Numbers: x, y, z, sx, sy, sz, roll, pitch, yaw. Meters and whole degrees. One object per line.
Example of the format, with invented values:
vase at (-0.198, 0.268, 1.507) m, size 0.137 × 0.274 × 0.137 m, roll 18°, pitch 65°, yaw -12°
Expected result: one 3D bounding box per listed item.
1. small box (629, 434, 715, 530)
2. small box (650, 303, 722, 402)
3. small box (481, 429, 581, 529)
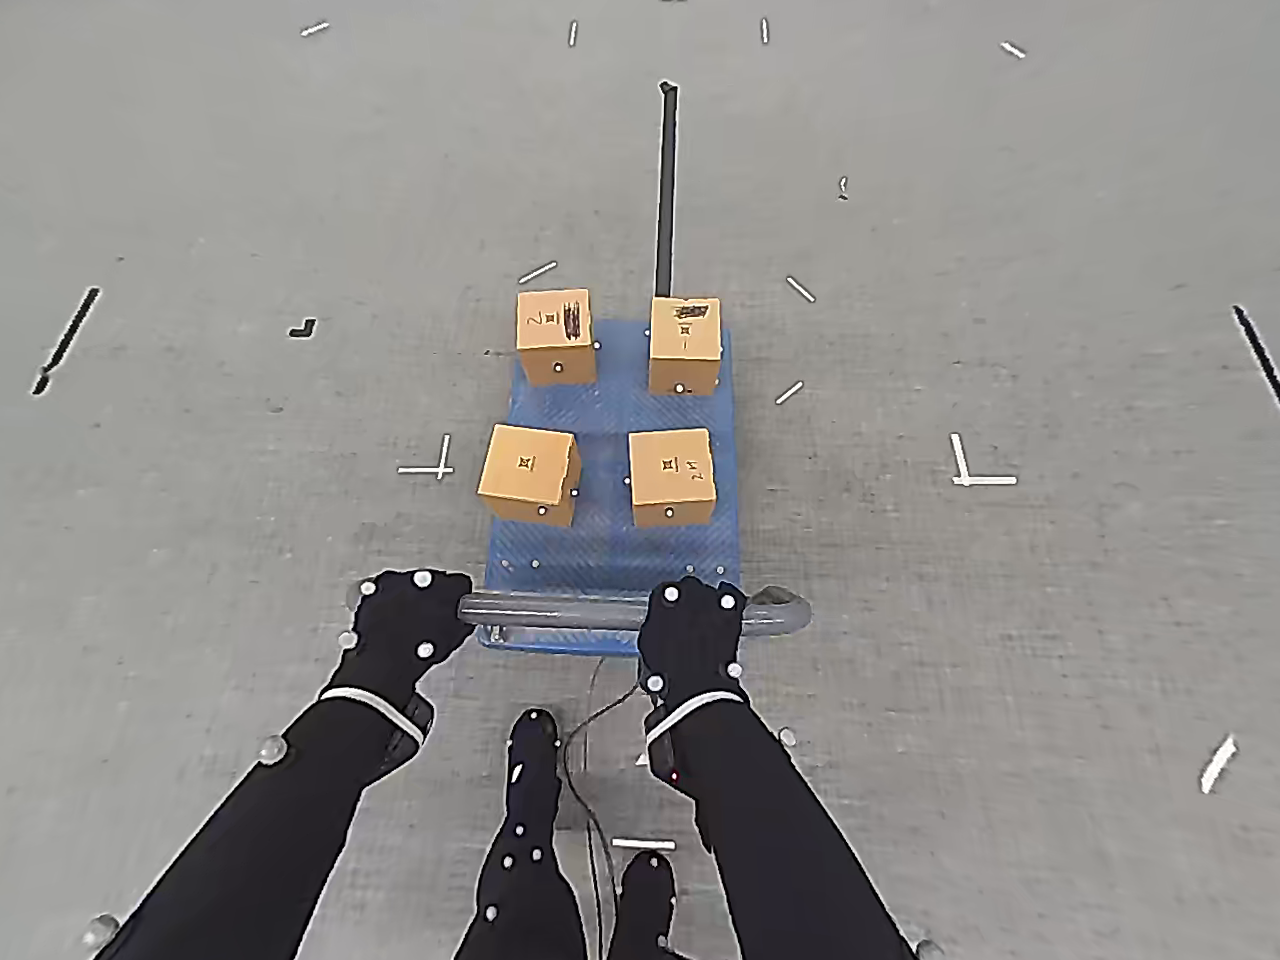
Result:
small box at (0.069, 0.010, 1.221) m, size 0.179 × 0.176 × 0.168 m, roll -3°, pitch 68°, yaw 0°
small box at (0.112, -0.316, 1.354) m, size 0.168 × 0.176 × 0.179 m, roll 2°, pitch 69°, yaw 2°
small box at (-0.238, 0.003, 1.228) m, size 0.179 × 0.176 × 0.168 m, roll 8°, pitch 68°, yaw 2°
